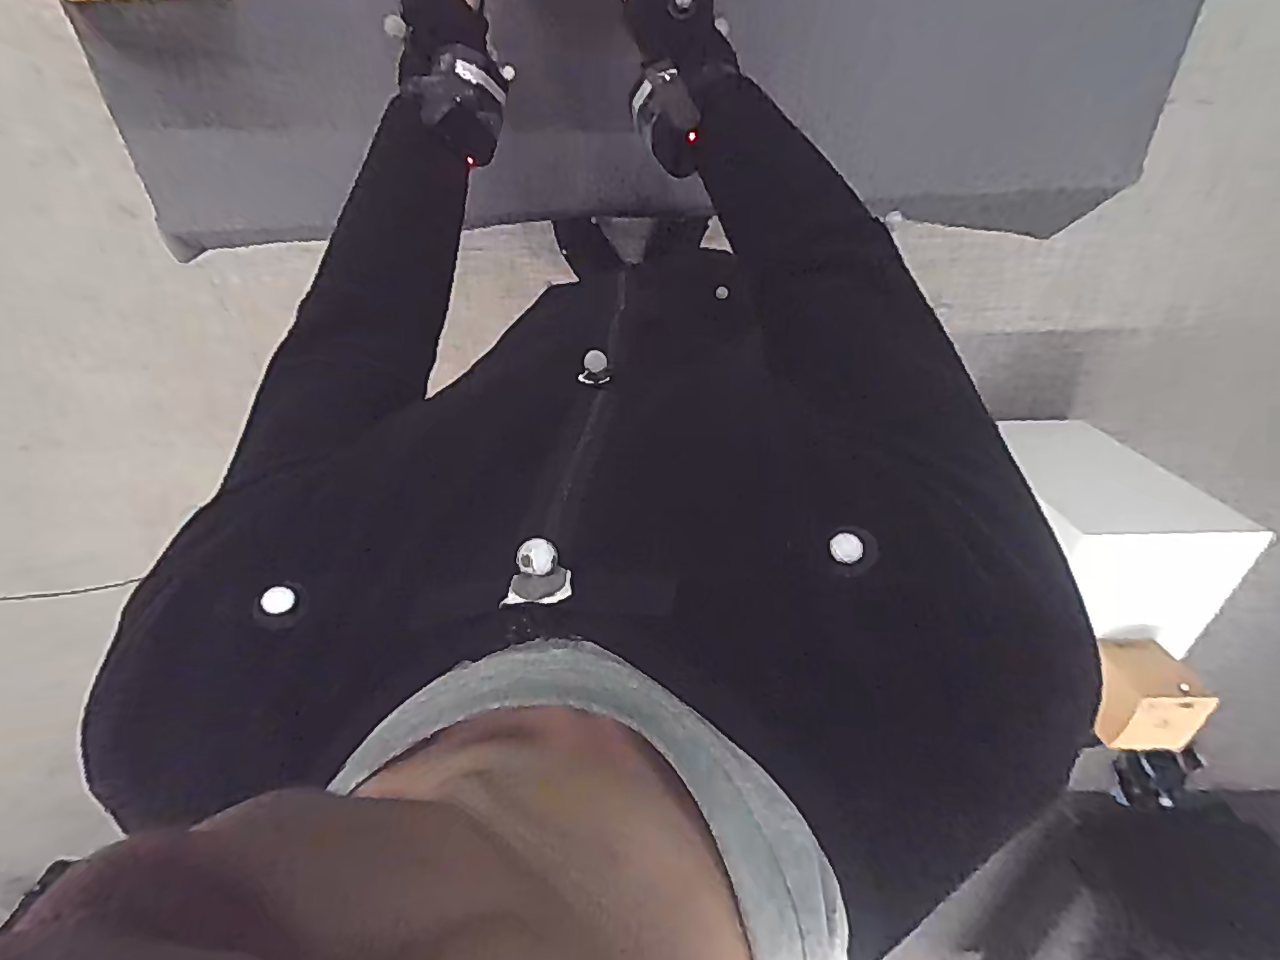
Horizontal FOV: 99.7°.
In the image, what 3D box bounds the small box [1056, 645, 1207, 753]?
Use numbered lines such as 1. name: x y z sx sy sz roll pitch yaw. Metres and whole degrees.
1. small box: 1.128 0.511 1.263 0.168 0.176 0.179 0 120 -3
